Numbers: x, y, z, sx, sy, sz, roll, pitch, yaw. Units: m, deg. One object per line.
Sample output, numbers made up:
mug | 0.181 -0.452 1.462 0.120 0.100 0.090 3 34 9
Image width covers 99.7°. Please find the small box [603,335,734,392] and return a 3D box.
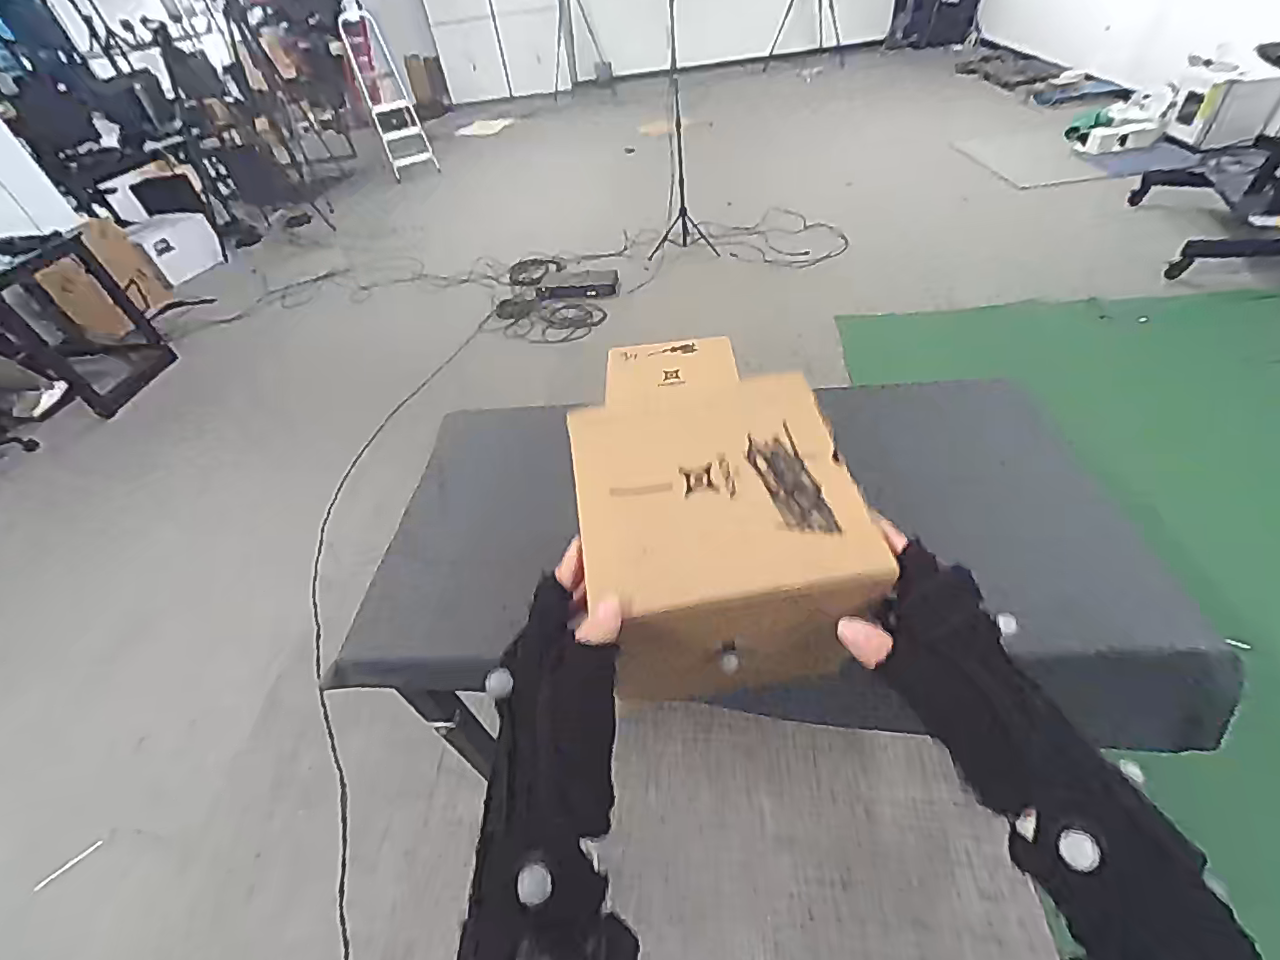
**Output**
small box | 0.045 -0.067 0.722 0.168 0.176 0.179 -5 46 5

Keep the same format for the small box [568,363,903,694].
small box | 0.051 0.041 0.404 0.179 0.176 0.168 -11 54 -5
